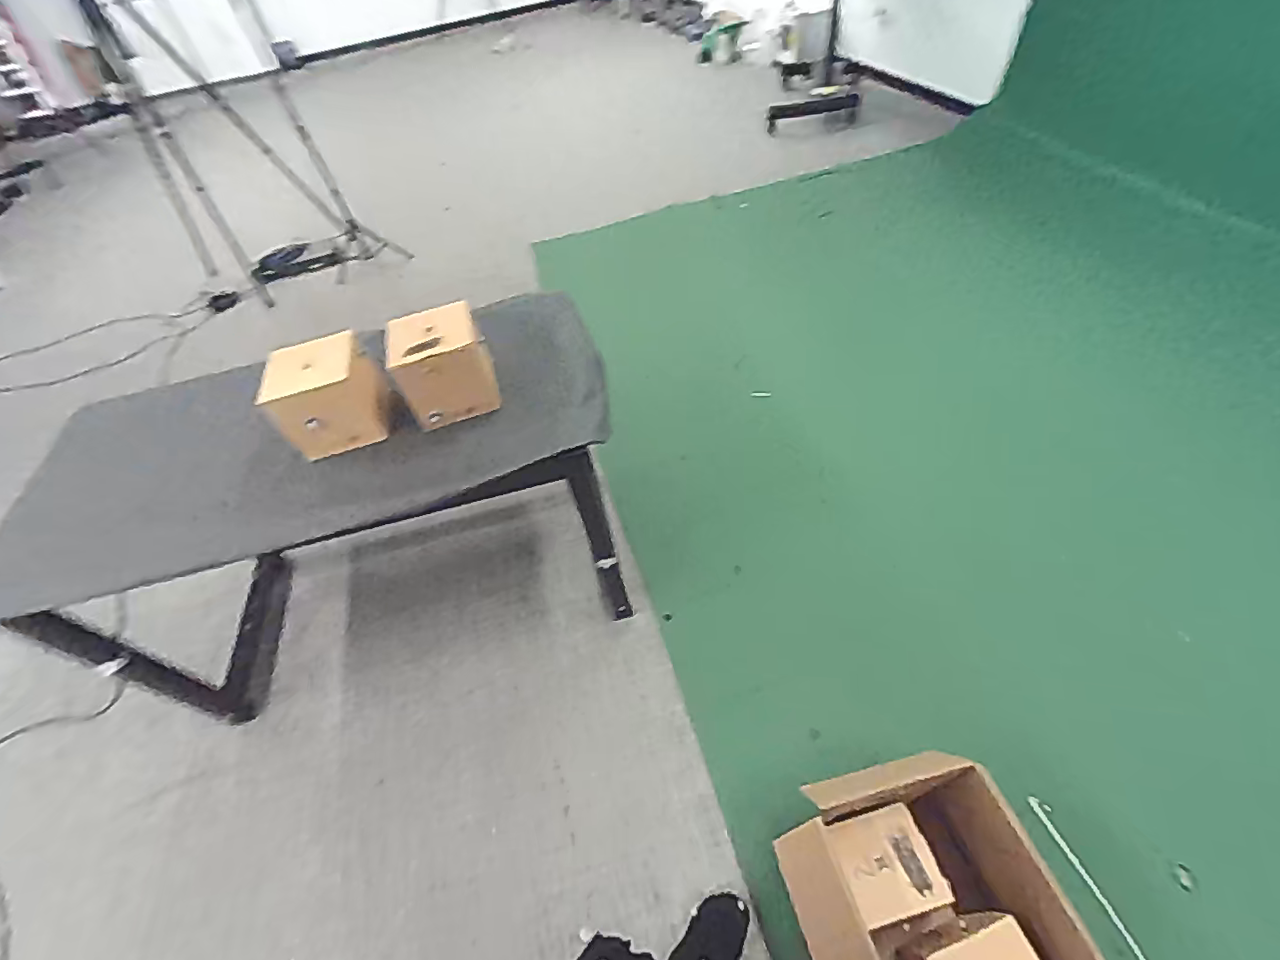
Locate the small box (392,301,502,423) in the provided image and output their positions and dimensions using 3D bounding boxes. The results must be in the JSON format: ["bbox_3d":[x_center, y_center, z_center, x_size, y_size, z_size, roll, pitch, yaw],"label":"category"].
[{"bbox_3d":[-0.398,-0.239,1.129,0.168,0.176,0.179,-18,48,-6],"label":"small box"}]

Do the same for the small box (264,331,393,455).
[{"bbox_3d":[-0.628,-0.172,1.115,0.168,0.176,0.179,-18,49,-5],"label":"small box"}]
